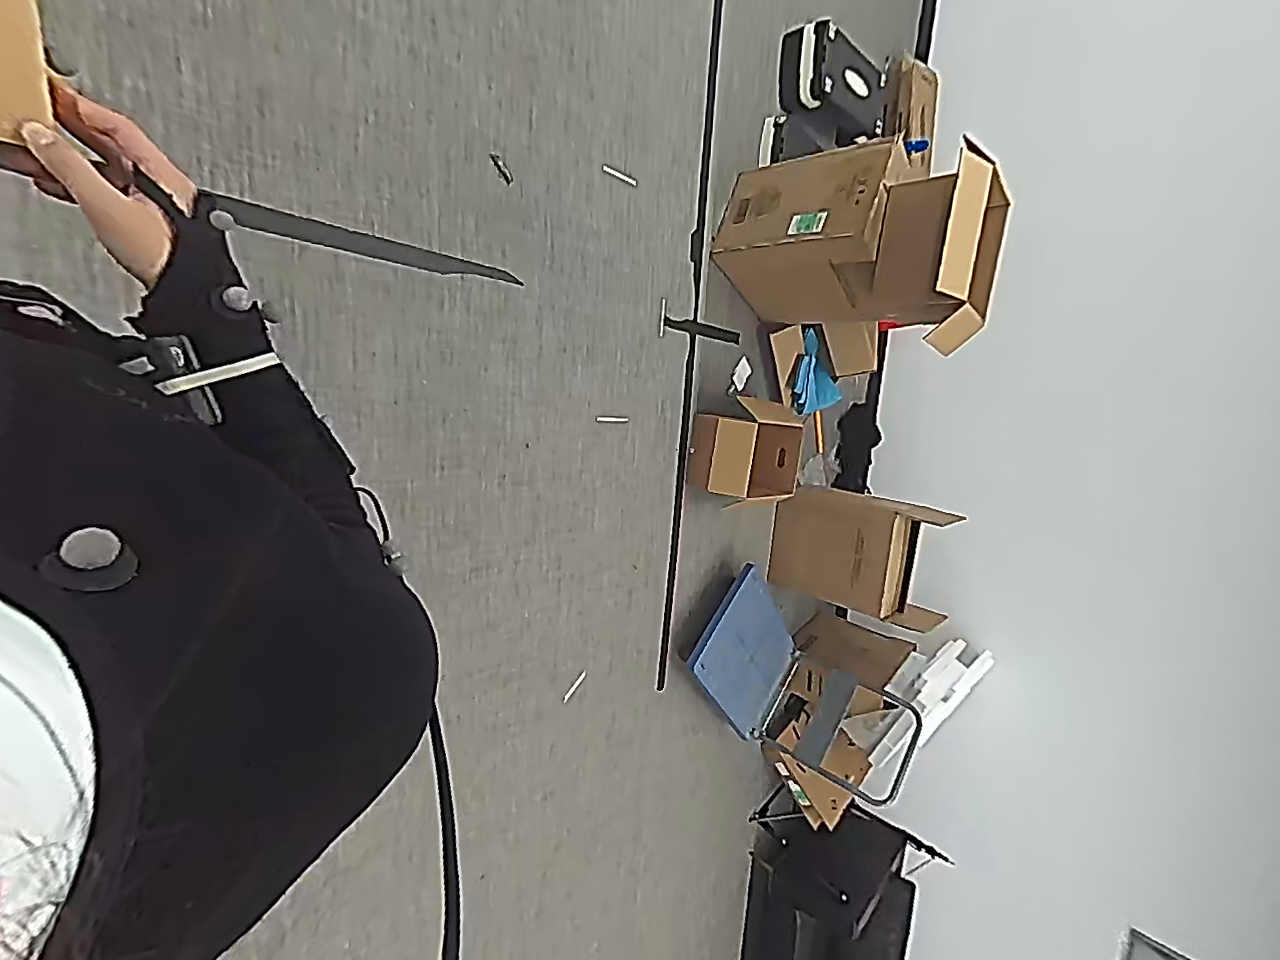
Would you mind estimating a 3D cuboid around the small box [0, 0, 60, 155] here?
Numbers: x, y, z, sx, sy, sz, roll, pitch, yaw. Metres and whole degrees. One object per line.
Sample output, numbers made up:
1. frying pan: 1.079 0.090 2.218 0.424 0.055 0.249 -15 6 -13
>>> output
1. small box: -0.435 -0.283 0.276 0.179 0.176 0.168 -7 114 -45
